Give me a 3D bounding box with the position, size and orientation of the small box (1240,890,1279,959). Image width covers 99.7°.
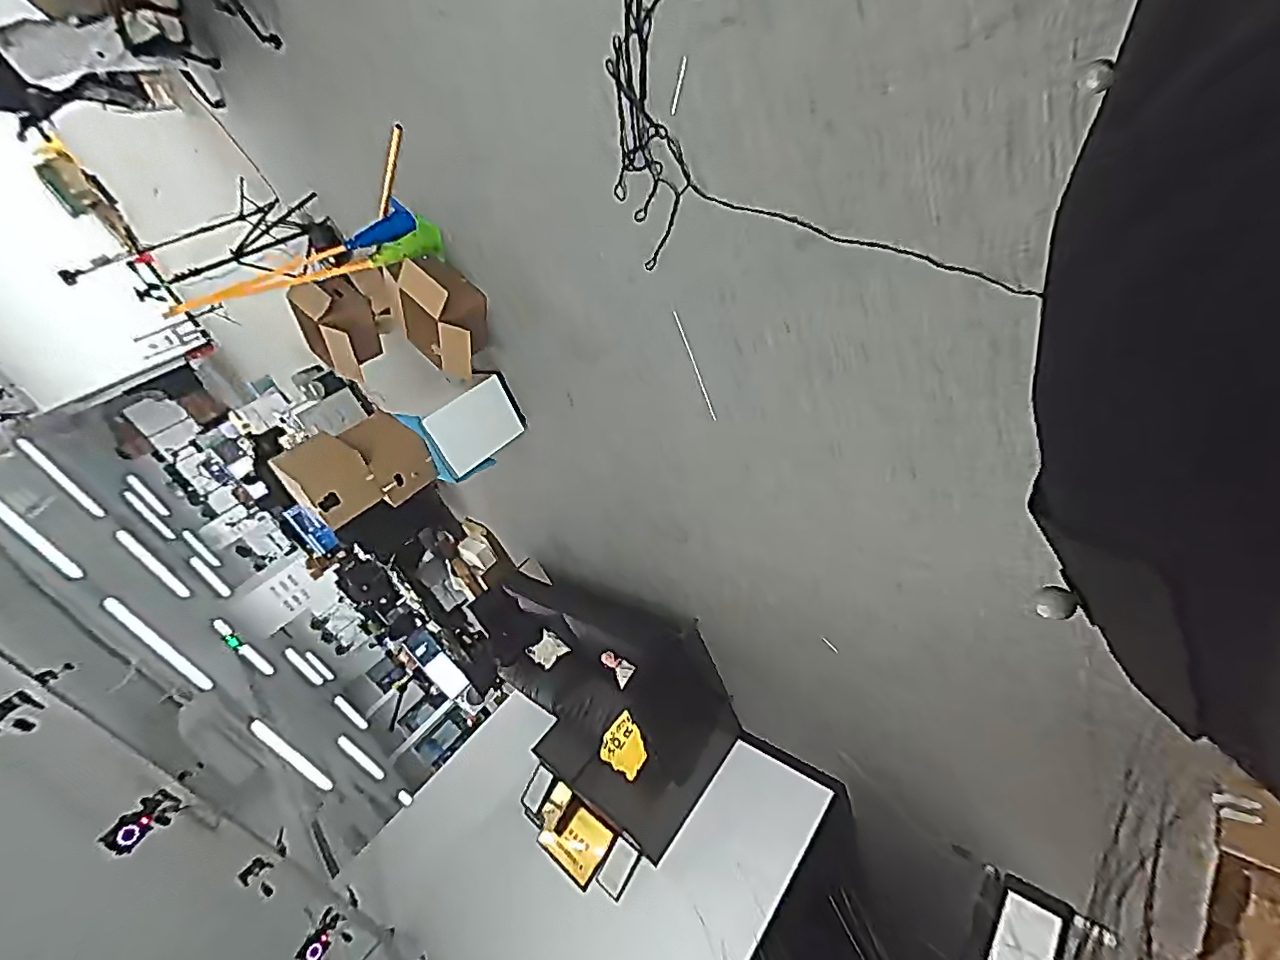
[{"bbox_3d":[1.345,0.991,1.095,0.168,0.176,0.179,5,129,48],"label":"small box"}]
